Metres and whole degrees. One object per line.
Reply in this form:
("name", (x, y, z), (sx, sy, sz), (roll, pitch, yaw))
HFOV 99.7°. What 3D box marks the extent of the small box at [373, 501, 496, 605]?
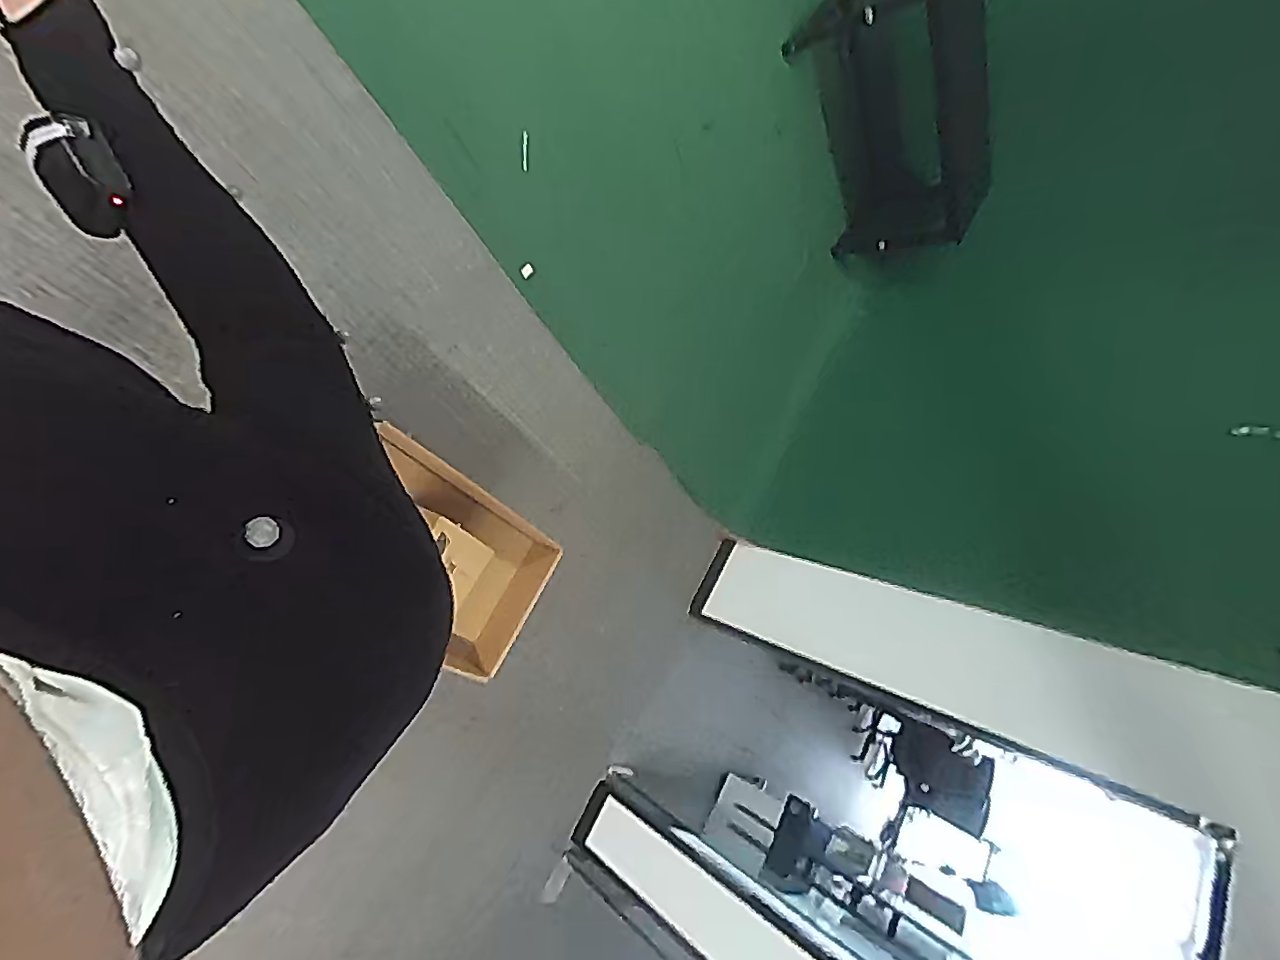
("small box", (-0.483, 0.164, 1.266), (0.179, 0.176, 0.168), (48, 65, -45))
